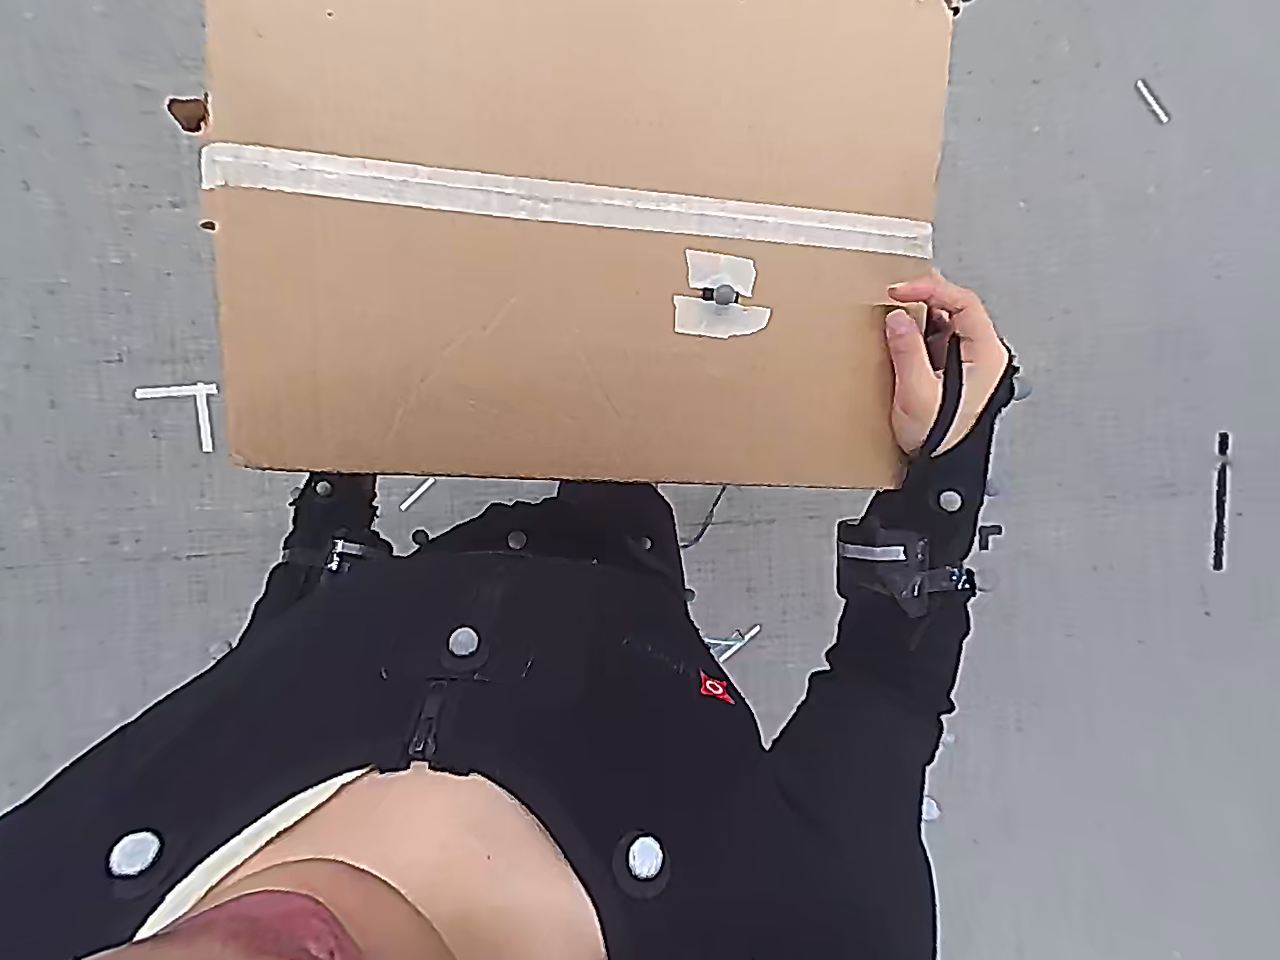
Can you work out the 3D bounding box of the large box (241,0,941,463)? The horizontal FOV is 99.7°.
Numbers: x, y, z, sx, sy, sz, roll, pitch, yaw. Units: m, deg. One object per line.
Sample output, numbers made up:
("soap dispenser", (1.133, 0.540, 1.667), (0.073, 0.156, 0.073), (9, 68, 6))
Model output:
("large box", (-0.038, -0.184, 0.463), (0.408, 0.320, 0.320), (1, 98, -11))
